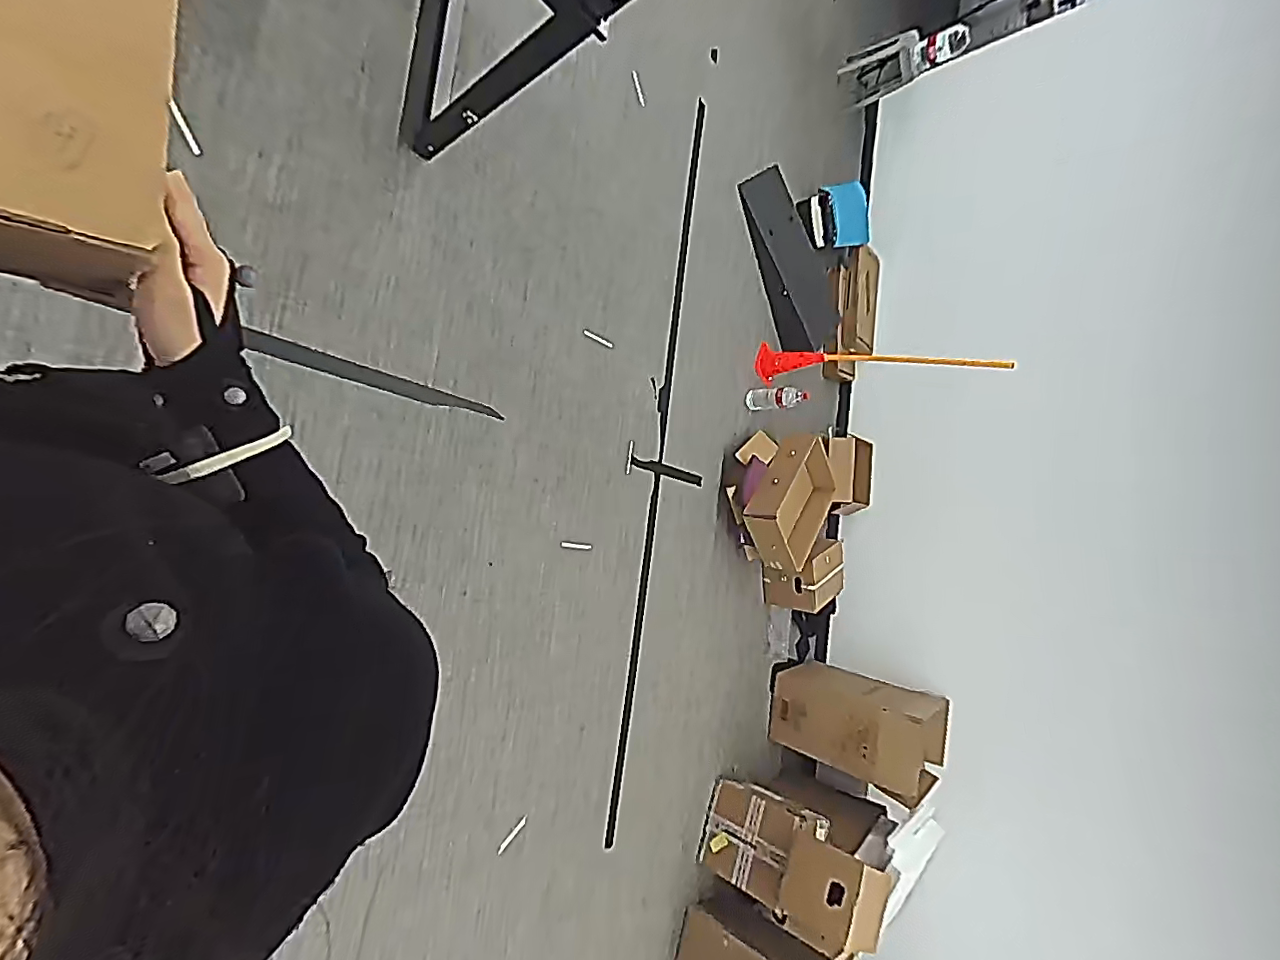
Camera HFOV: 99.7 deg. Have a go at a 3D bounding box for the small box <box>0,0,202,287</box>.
[{"bbox_3d":[-0.329,-0.203,0.252,0.168,0.176,0.179,3,95,-50],"label":"small box"}]
